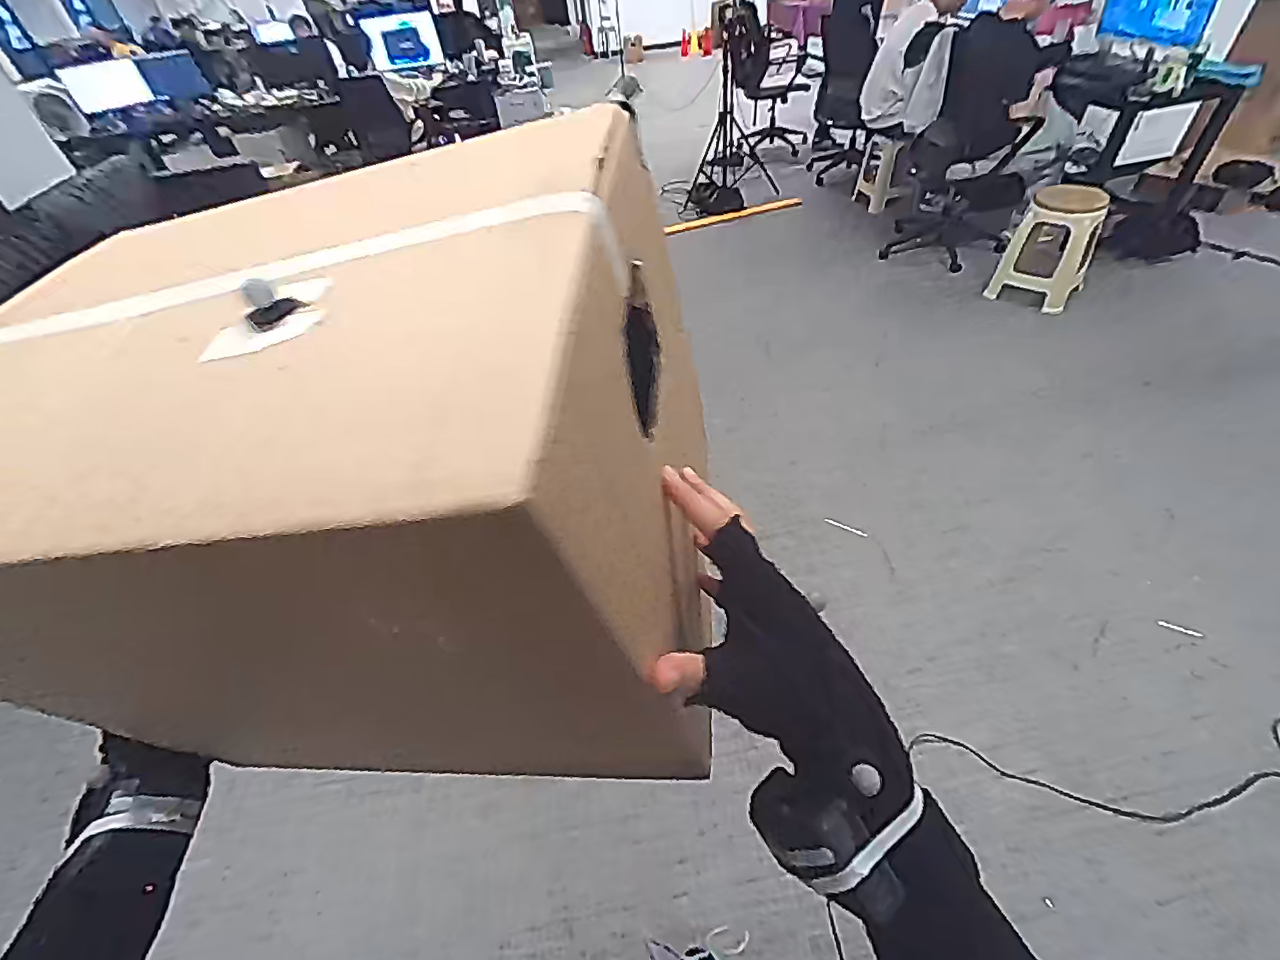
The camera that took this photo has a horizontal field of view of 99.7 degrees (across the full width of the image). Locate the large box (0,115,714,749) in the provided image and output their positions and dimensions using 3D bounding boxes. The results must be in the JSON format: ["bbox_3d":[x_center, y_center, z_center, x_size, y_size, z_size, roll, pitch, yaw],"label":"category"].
[{"bbox_3d":[-0.165,-0.003,0.405,0.408,0.320,0.320,-6,51,14],"label":"large box"}]
